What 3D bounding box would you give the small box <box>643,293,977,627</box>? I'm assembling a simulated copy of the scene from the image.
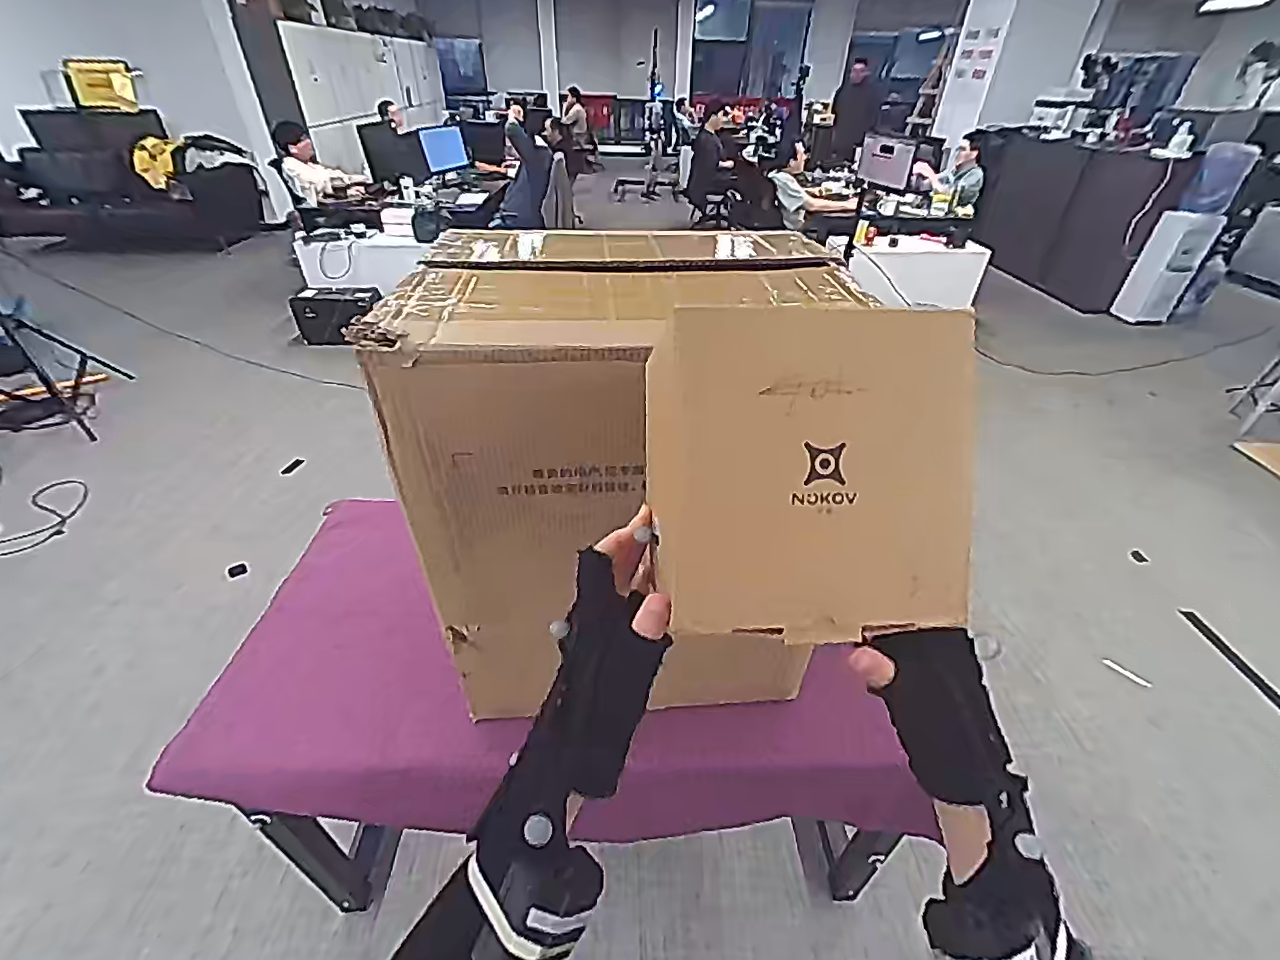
[{"bbox_3d":[0.092,-0.012,0.365,0.168,0.179,0.176,-1,1,-5],"label":"small box"}]
